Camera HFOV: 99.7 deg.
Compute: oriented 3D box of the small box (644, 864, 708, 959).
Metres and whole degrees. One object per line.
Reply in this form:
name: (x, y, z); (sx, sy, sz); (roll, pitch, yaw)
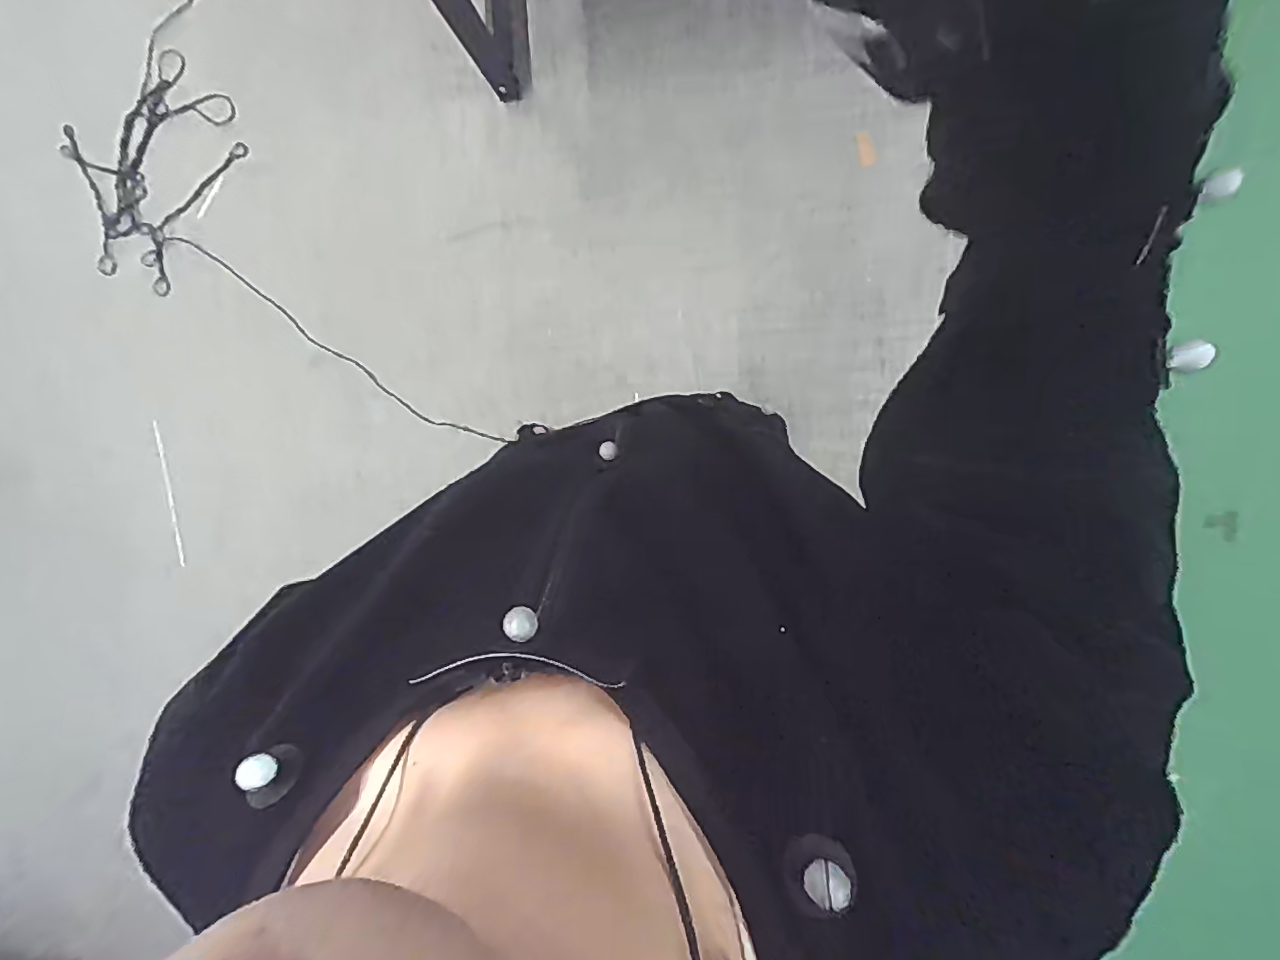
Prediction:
small box: (0.109, 1.266, 1.581); (0.179, 0.176, 0.168); (2, 97, 8)
